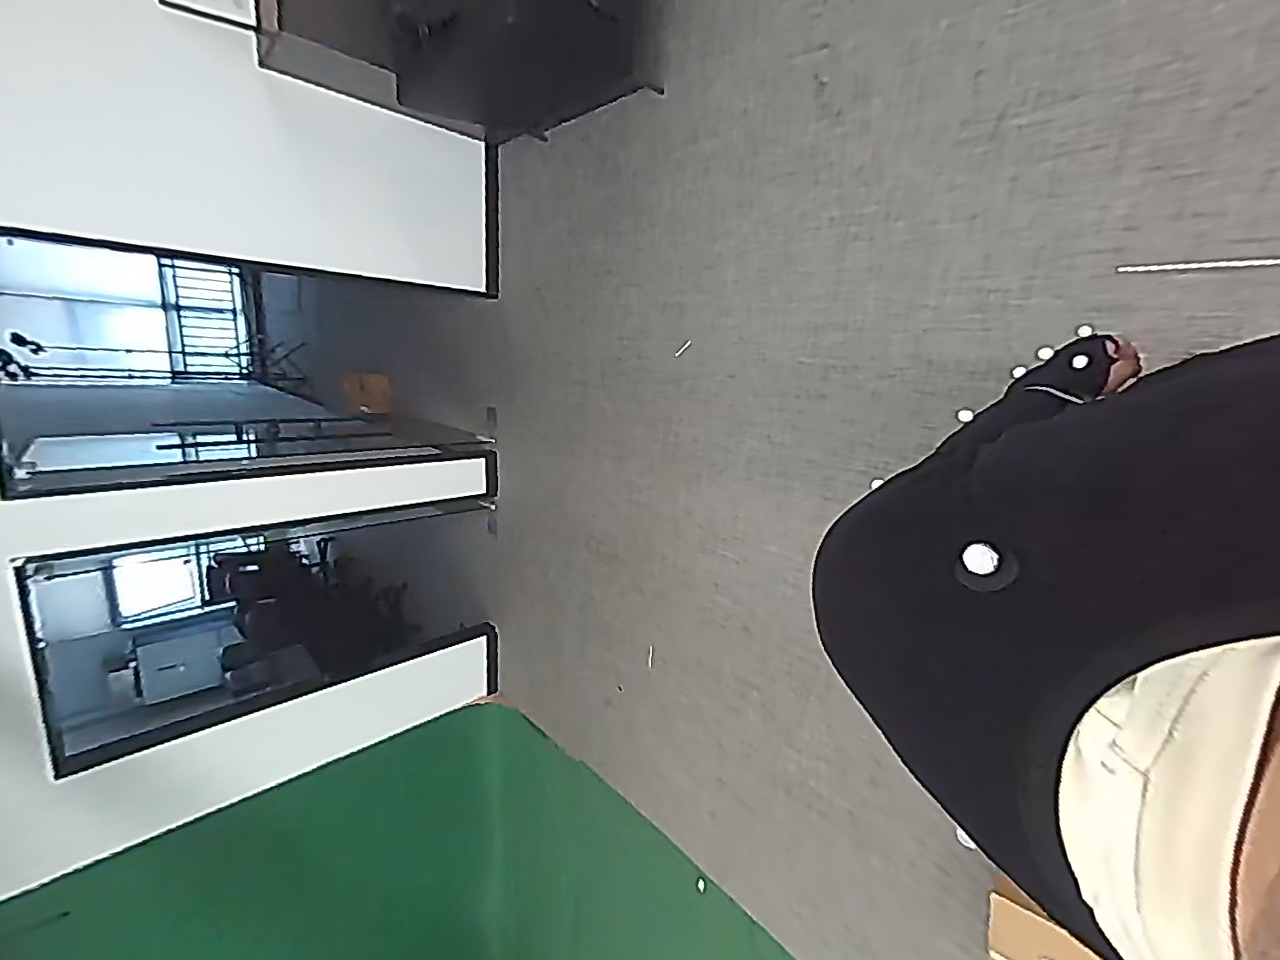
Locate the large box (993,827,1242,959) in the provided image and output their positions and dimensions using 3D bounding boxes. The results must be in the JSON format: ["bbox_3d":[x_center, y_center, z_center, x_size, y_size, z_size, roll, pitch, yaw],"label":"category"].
[{"bbox_3d":[1.095,1.118,1.254,0.408,0.320,0.320,5,99,47],"label":"large box"}]
